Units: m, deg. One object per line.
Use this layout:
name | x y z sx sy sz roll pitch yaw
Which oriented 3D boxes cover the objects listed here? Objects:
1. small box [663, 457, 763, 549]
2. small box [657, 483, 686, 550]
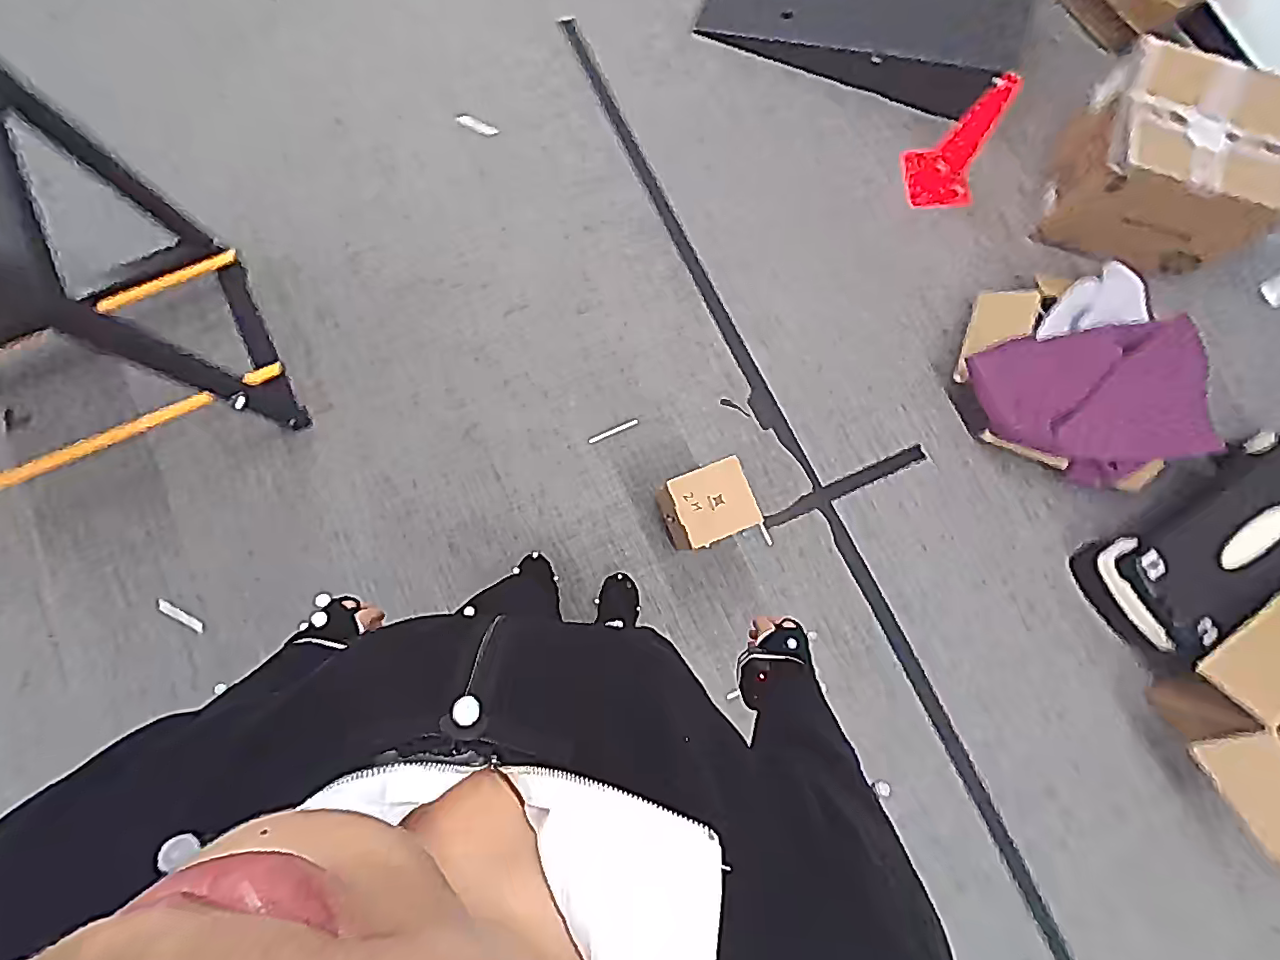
small box | 0.165 0.060 1.291 0.179 0.176 0.168 -21 82 -5
small box | 0.152 0.080 1.454 0.168 0.176 0.179 -21 83 -5
